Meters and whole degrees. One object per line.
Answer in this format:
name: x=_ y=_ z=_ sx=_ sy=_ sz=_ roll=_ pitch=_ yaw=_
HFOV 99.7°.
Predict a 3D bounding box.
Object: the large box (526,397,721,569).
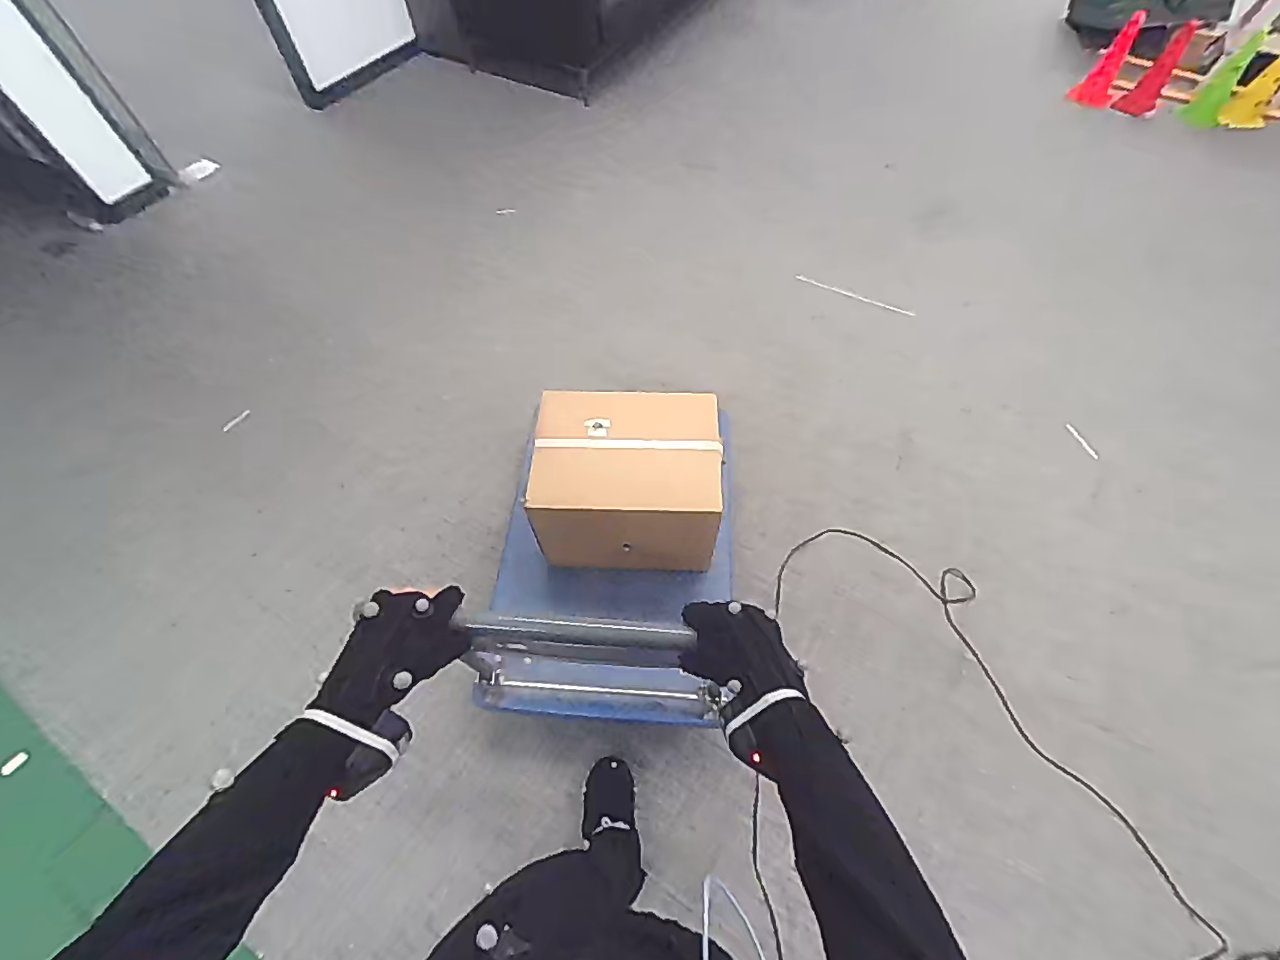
large box: x=-0.027 y=0.015 z=1.299 sx=0.408 sy=0.320 sz=0.320 roll=1 pitch=58 yaw=2
